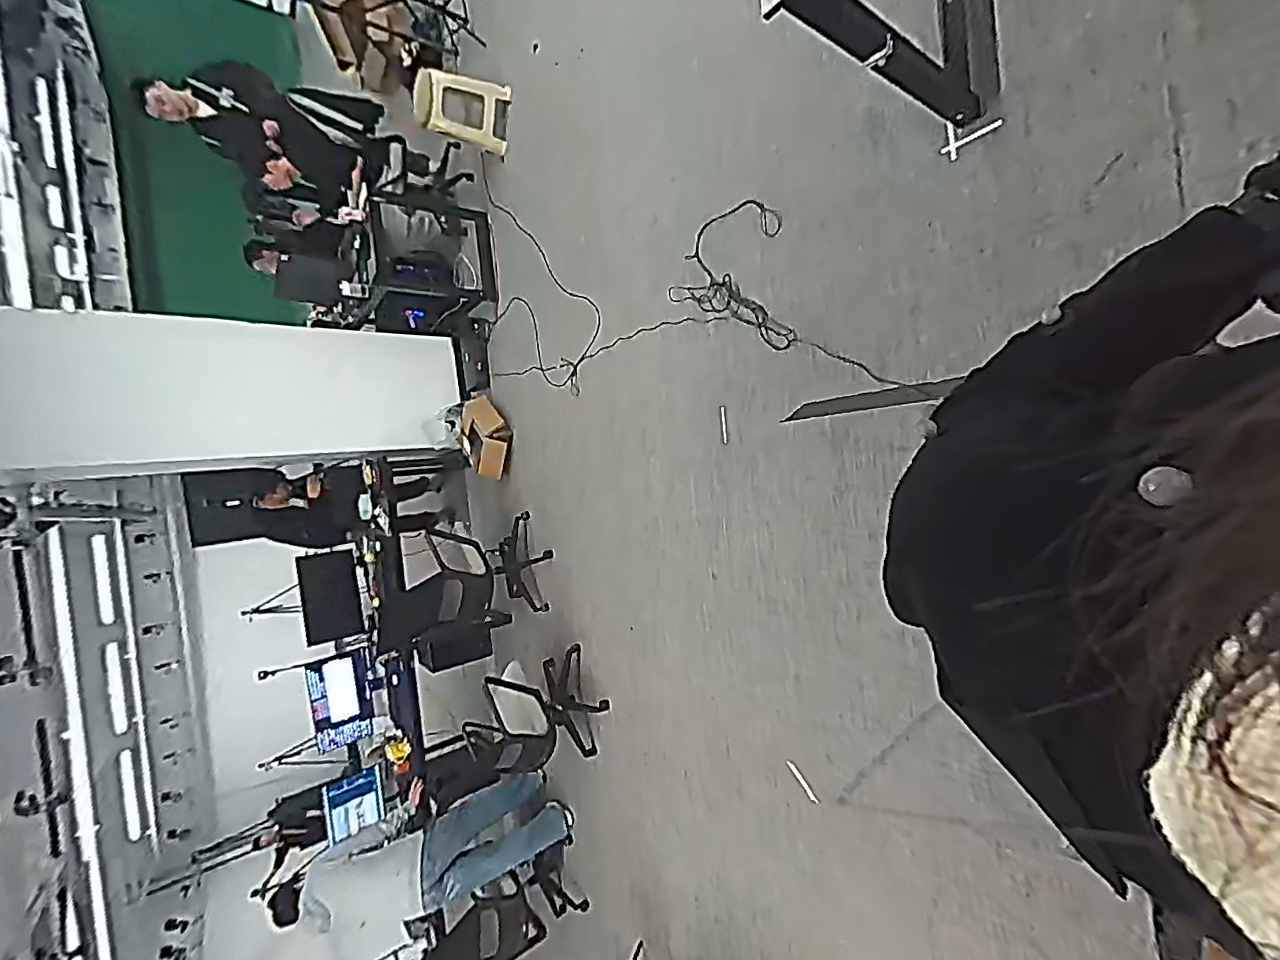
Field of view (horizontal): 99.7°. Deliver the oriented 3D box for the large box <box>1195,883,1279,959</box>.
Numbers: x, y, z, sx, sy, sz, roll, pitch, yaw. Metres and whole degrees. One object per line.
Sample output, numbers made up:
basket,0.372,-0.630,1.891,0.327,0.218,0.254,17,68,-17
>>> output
large box,1.046,0.856,0.716,0.408,0.320,0.320,-6,91,51
